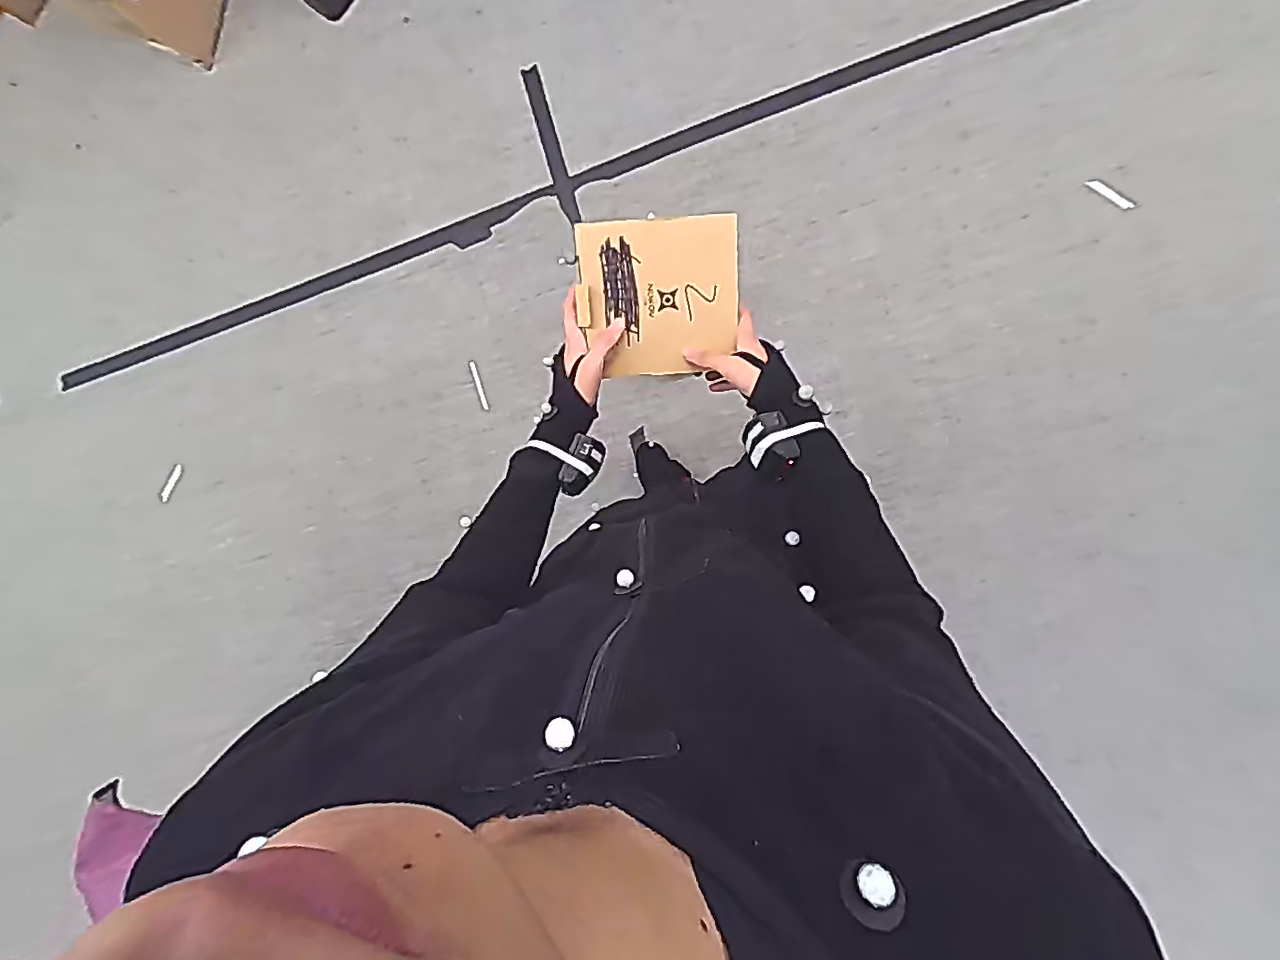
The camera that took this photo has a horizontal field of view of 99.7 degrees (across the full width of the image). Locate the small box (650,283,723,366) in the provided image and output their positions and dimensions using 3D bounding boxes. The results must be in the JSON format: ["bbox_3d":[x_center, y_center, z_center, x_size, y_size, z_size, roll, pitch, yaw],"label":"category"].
[{"bbox_3d":[0.130,-0.418,1.487,0.168,0.176,0.179,-13,94,6],"label":"small box"}]
